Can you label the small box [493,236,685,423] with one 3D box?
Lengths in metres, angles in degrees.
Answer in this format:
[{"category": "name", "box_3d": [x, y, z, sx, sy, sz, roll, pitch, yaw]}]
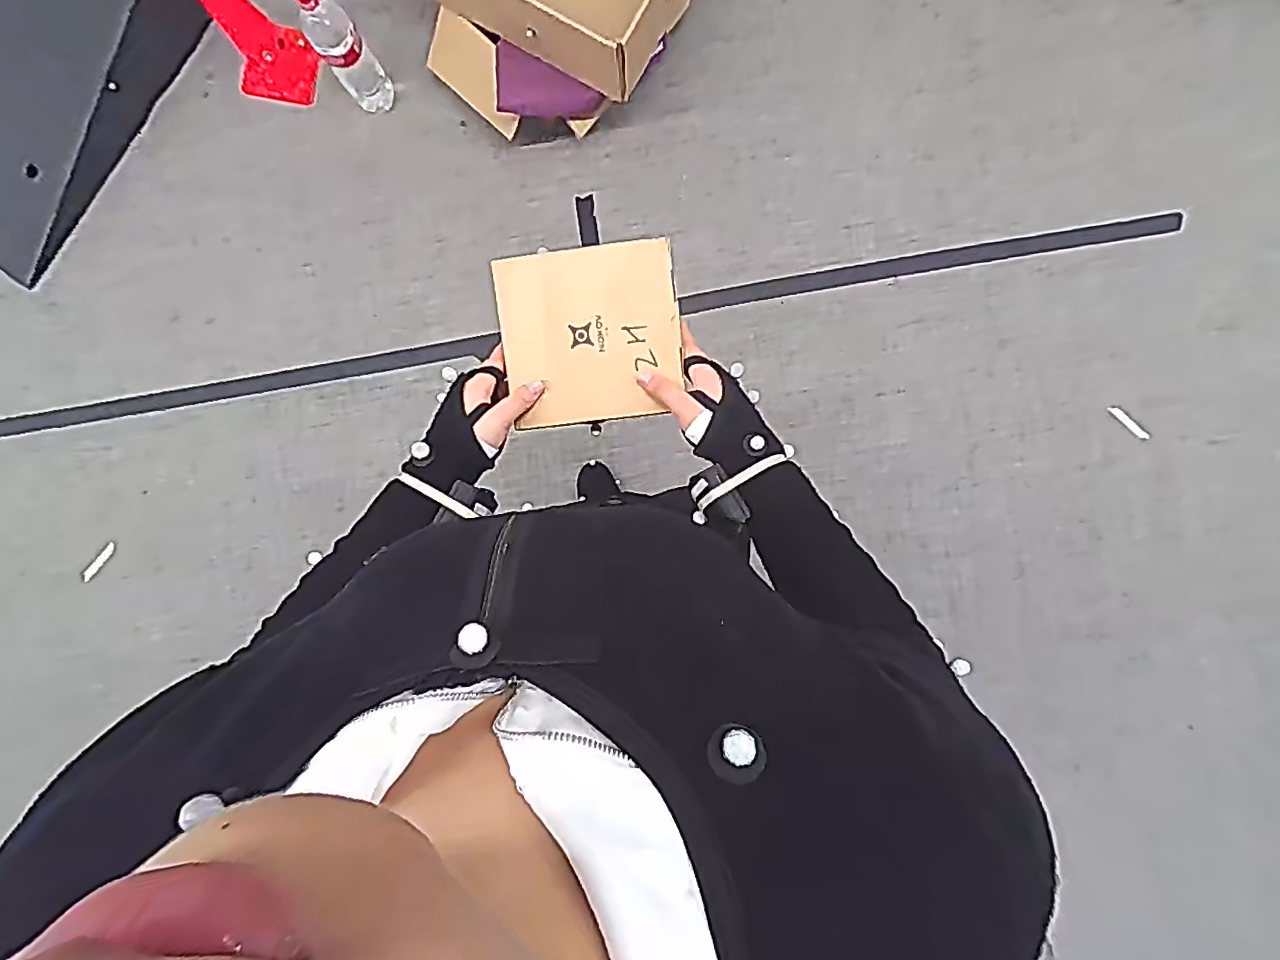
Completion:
[{"category": "small box", "box_3d": [-0.046, -0.153, 0.606, 0.179, 0.176, 0.168, -6, 97, 2]}]
